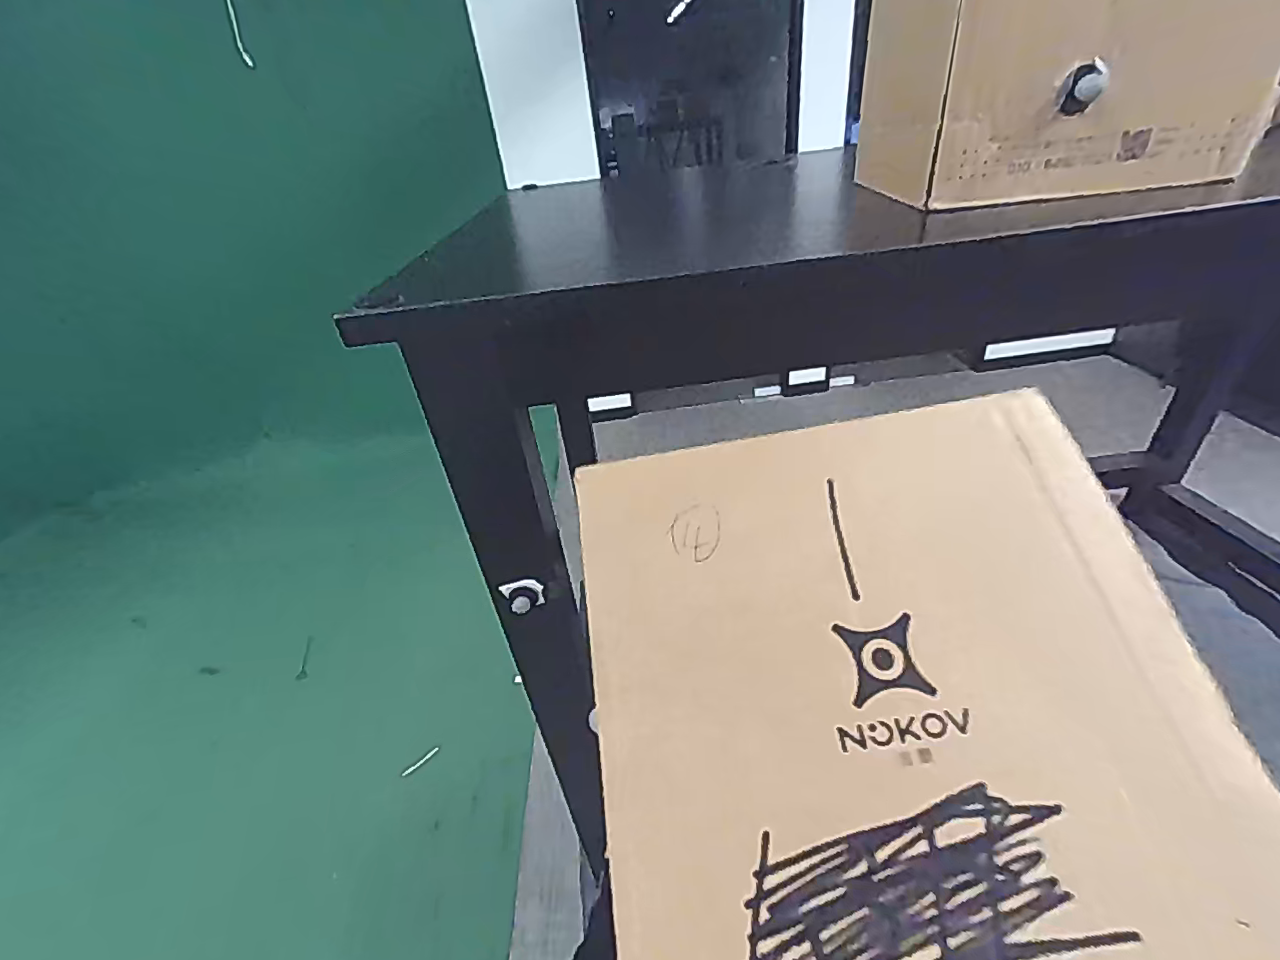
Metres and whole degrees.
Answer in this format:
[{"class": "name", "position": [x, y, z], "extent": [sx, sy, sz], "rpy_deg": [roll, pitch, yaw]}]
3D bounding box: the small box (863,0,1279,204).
[{"class": "small box", "position": [0.253, -0.279, 0.341], "extent": [0.168, 0.176, 0.179], "rpy_deg": [-2, 34, 7]}]
